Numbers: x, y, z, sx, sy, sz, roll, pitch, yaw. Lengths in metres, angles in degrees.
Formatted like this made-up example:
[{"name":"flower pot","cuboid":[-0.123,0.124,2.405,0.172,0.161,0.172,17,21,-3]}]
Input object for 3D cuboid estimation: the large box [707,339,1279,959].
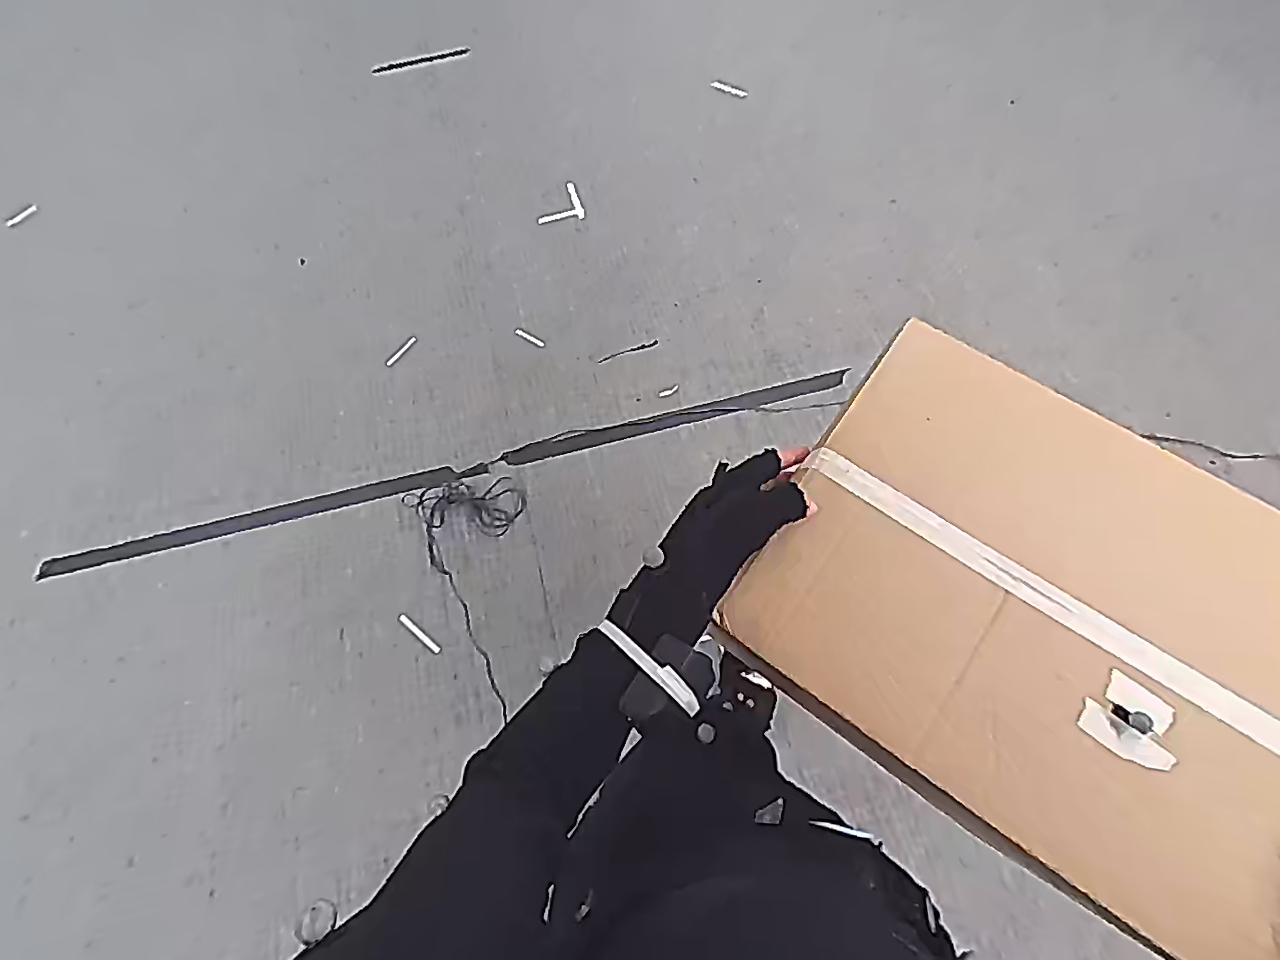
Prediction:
[{"name":"large box","cuboid":[0.322,0.139,0.551,0.408,0.320,0.320,35,80,13]}]
